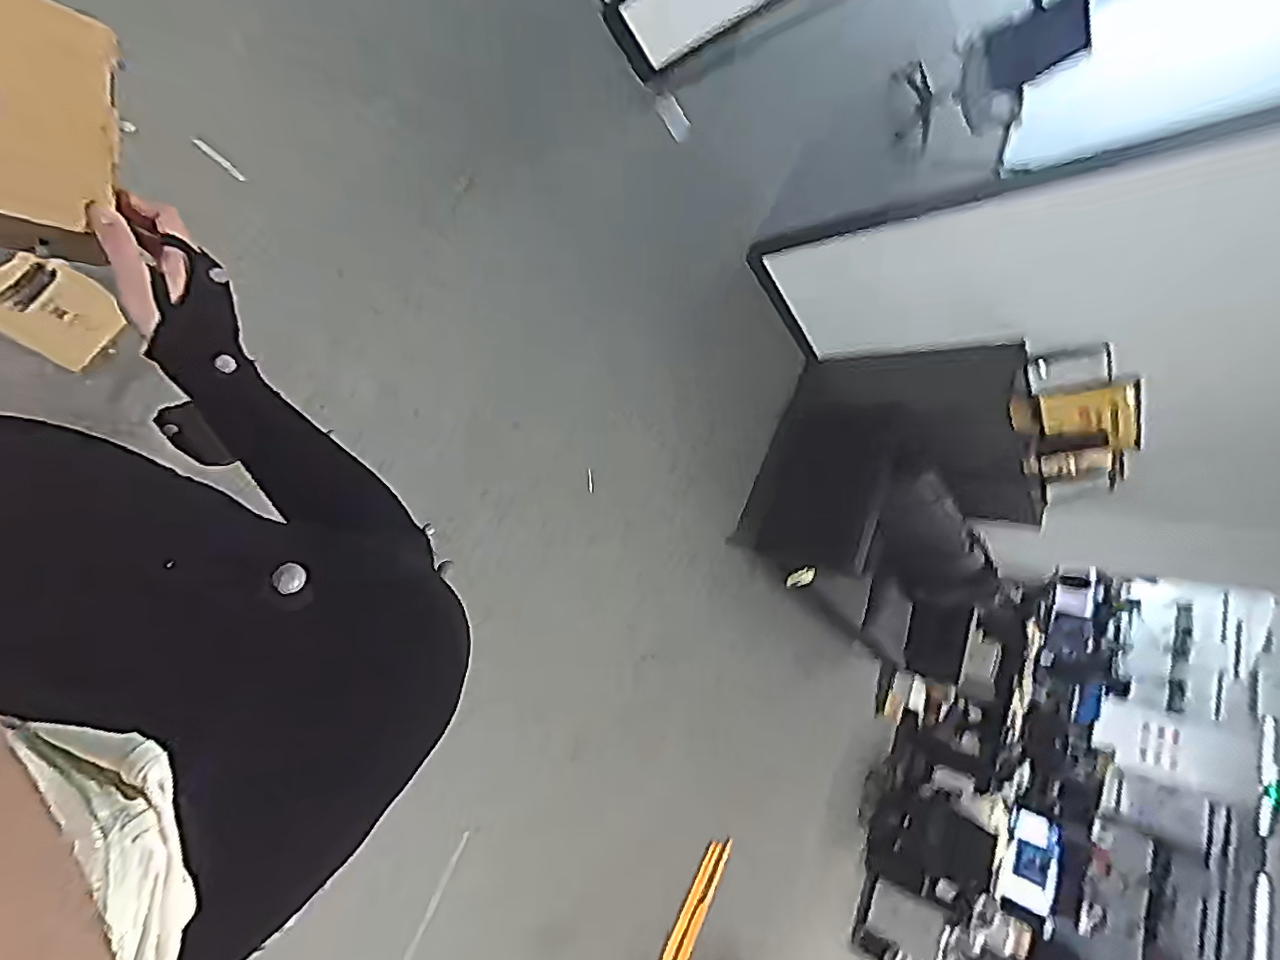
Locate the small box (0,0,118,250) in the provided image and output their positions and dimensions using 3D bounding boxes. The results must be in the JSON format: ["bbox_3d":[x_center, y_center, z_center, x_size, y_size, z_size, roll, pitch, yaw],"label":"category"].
[{"bbox_3d":[-0.536,-0.293,0.422,0.179,0.176,0.168,0,98,-46],"label":"small box"}]
